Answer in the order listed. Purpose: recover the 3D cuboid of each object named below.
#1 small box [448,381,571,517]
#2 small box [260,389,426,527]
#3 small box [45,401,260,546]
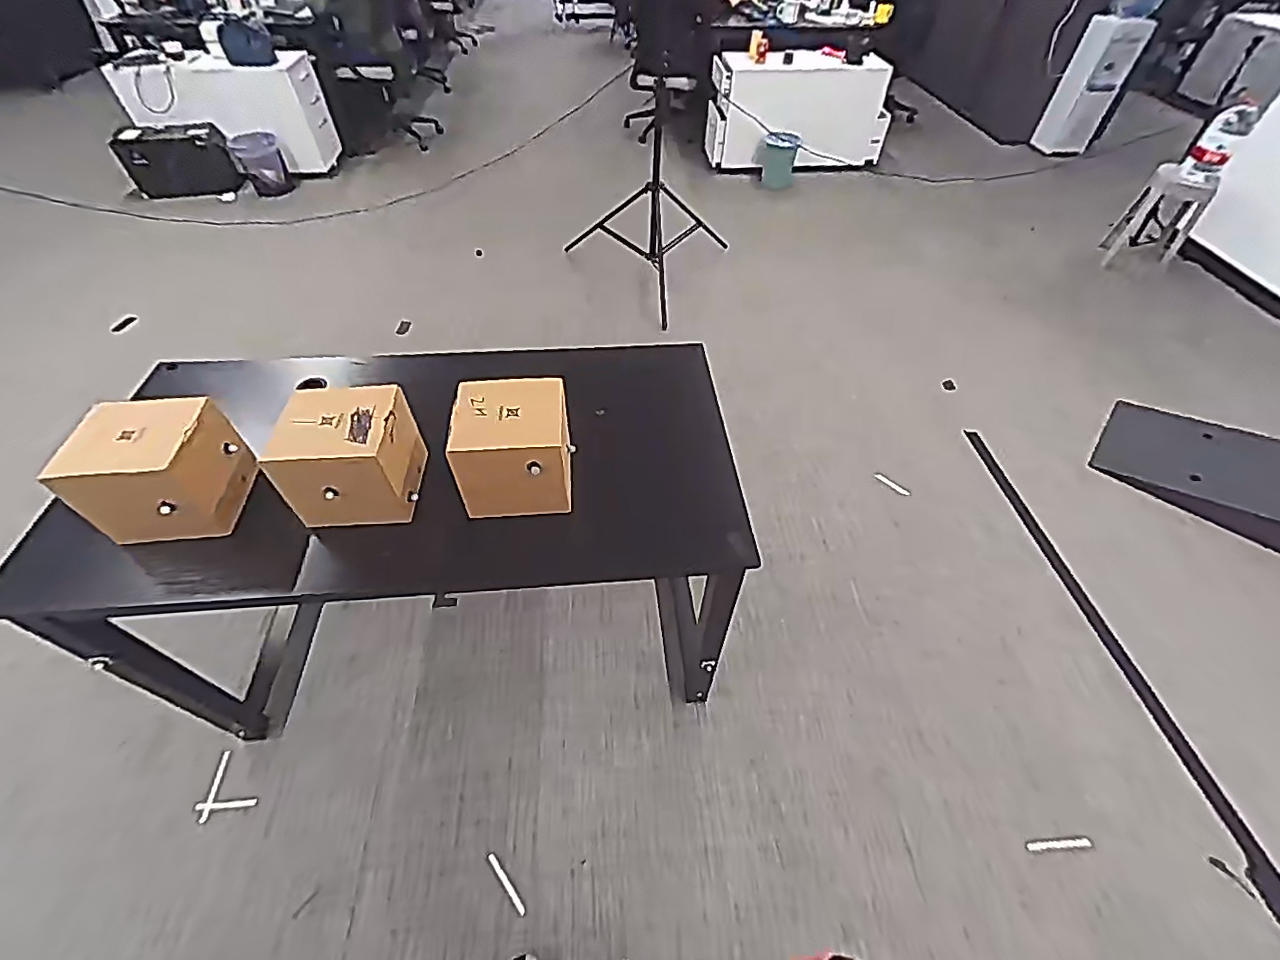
[{"bbox_3d":[-0.211,-0.051,0.930,0.179,0.176,0.168,-4,49,-3],"label":"small box"},{"bbox_3d":[-0.481,-0.034,0.913,0.179,0.176,0.168,-3,49,-3],"label":"small box"},{"bbox_3d":[-0.774,-0.009,0.888,0.179,0.176,0.168,-6,49,-5],"label":"small box"}]
